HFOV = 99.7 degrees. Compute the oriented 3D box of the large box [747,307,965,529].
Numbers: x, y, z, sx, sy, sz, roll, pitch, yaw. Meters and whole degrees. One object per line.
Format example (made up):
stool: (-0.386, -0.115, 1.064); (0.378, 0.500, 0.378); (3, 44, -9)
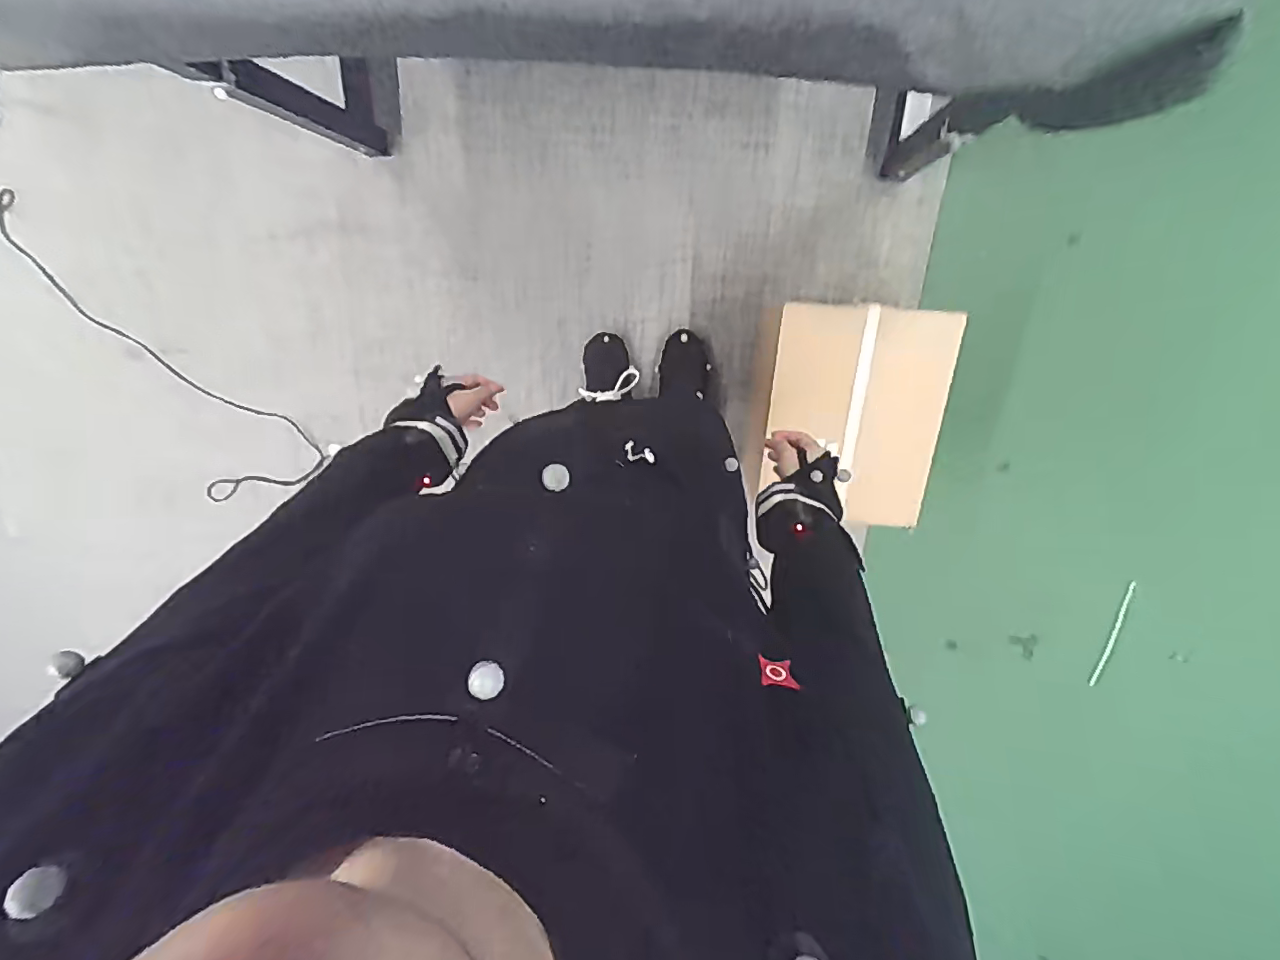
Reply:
large box: (0.412, -0.150, 1.136); (0.320, 0.320, 0.408); (5, 109, 5)
